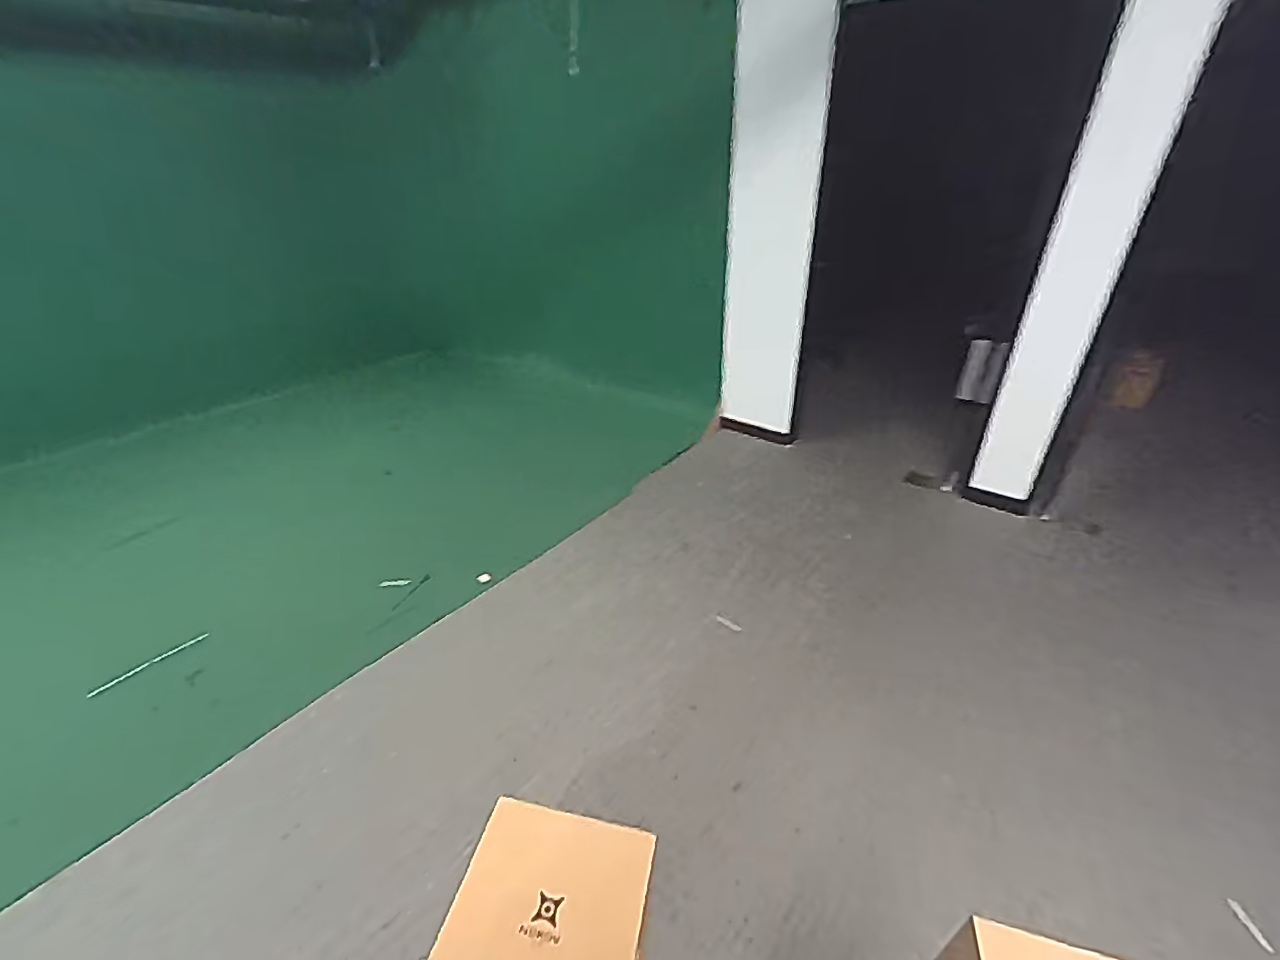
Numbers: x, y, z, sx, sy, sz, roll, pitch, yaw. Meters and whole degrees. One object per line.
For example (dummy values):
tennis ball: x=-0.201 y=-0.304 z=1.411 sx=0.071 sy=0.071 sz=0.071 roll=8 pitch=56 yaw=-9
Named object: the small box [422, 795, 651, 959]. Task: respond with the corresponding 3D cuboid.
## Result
small box: x=-0.090 y=0.442 z=0.505 sx=0.168 sy=0.176 sz=0.179 roll=8 pitch=31 yaw=9
